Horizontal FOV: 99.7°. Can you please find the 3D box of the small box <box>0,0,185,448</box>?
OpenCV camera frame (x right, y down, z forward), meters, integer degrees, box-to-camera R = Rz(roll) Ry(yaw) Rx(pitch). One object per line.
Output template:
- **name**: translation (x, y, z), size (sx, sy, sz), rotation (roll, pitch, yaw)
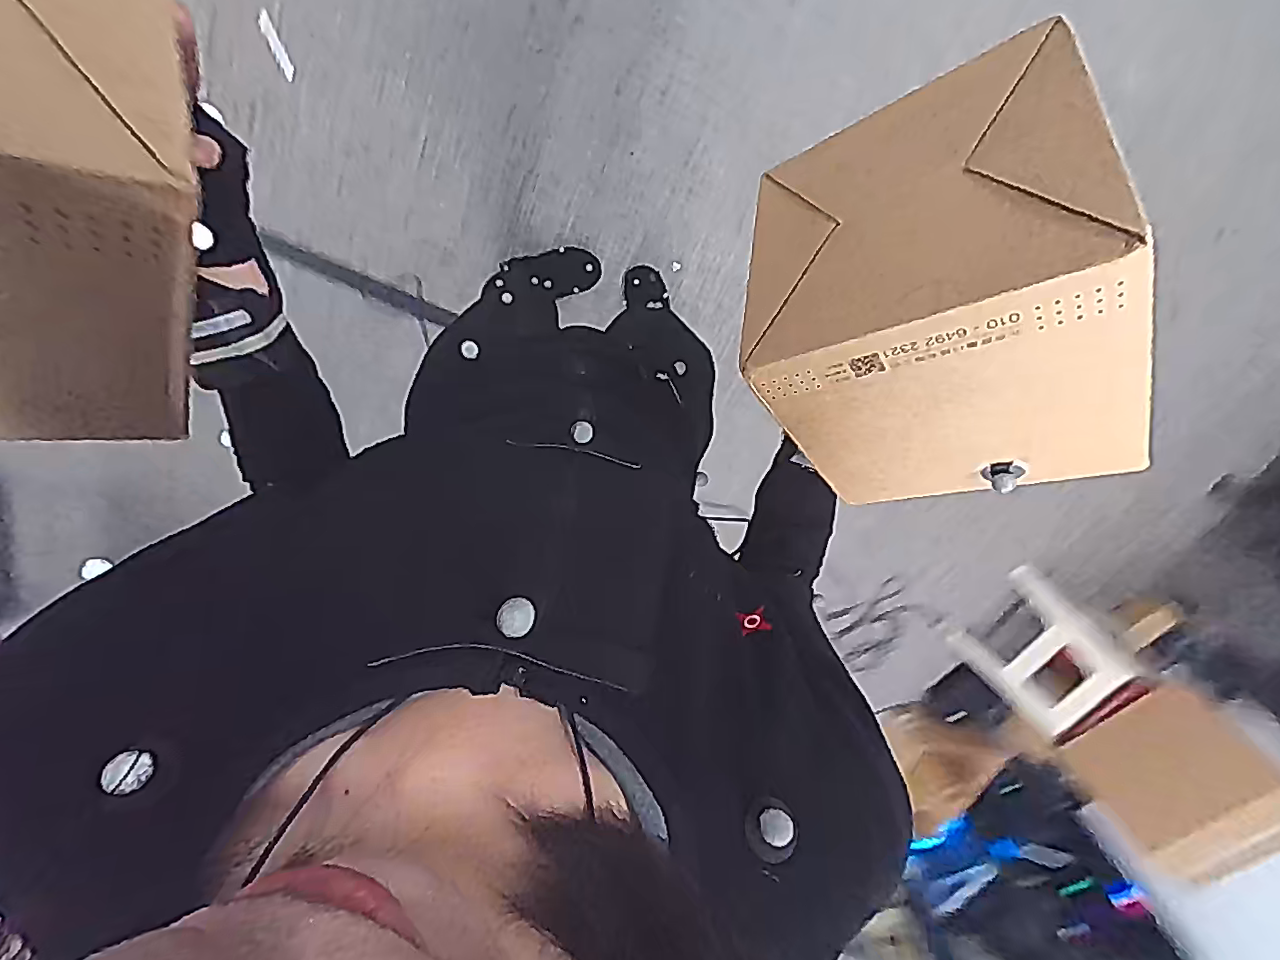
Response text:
- **small box**: translation (-0.265, -0.121, 0.173), size (0.168, 0.179, 0.176), rotation (-7, 161, -39)
